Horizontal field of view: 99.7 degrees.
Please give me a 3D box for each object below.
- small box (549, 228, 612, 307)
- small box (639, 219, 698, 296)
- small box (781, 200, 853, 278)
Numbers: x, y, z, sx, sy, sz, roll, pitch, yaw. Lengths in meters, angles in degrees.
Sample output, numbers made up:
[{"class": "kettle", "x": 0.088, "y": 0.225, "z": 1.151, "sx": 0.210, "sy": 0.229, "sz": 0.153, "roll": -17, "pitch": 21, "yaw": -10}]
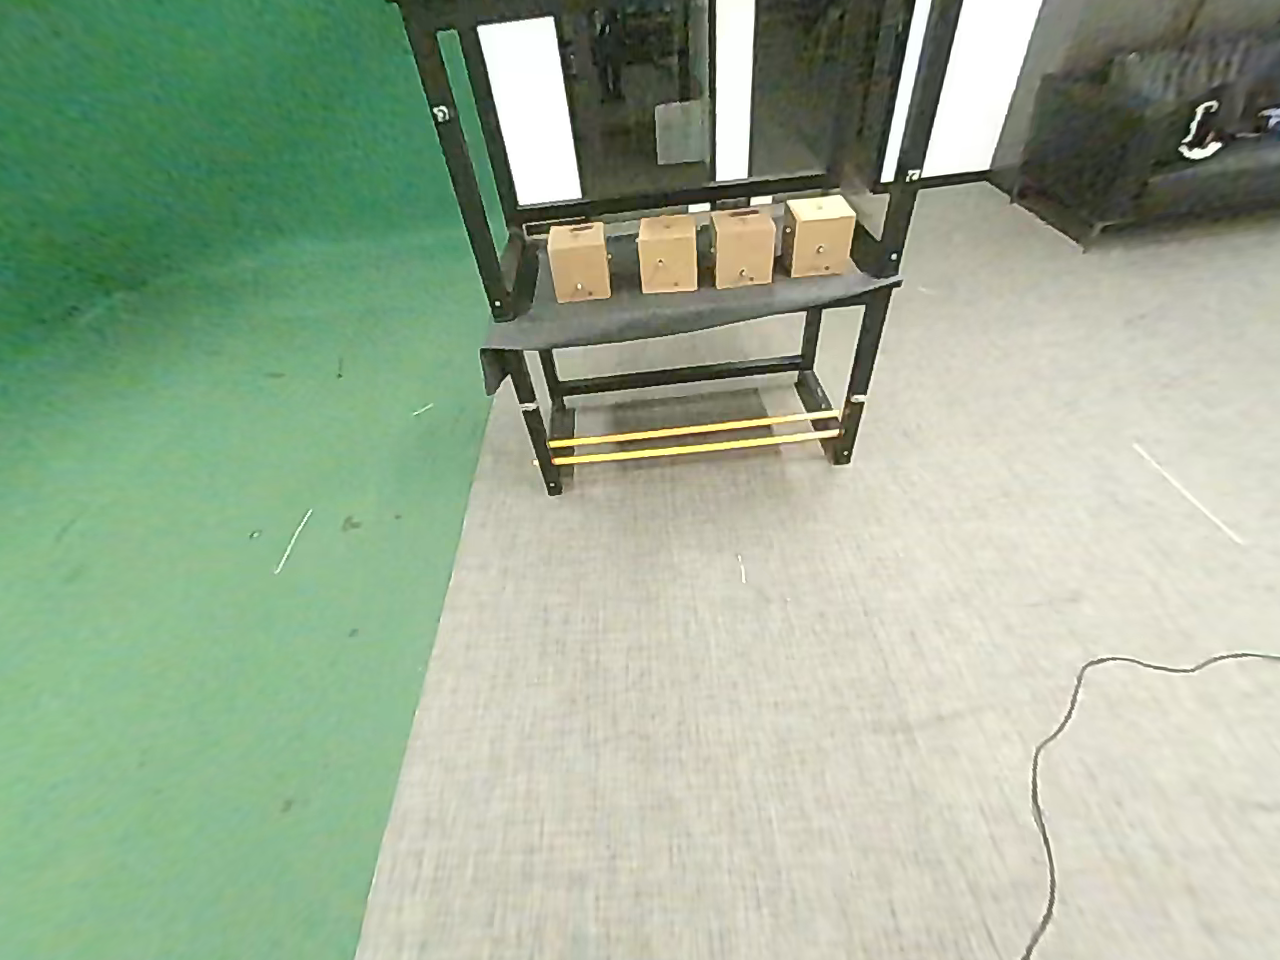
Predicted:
[{"class": "small box", "x": -0.178, "y": -0.655, "z": 1.665, "sx": 0.168, "sy": 0.176, "sz": 0.179, "roll": -6, "pitch": 45, "yaw": 2}, {"class": "small box", "x": 0.091, "y": -0.675, "z": 1.652, "sx": 0.168, "sy": 0.176, "sz": 0.179, "roll": -2, "pitch": 44, "yaw": 6}, {"class": "small box", "x": 0.529, "y": -0.722, "z": 1.634, "sx": 0.168, "sy": 0.176, "sz": 0.179, "roll": -4, "pitch": 44, "yaw": 4}]
